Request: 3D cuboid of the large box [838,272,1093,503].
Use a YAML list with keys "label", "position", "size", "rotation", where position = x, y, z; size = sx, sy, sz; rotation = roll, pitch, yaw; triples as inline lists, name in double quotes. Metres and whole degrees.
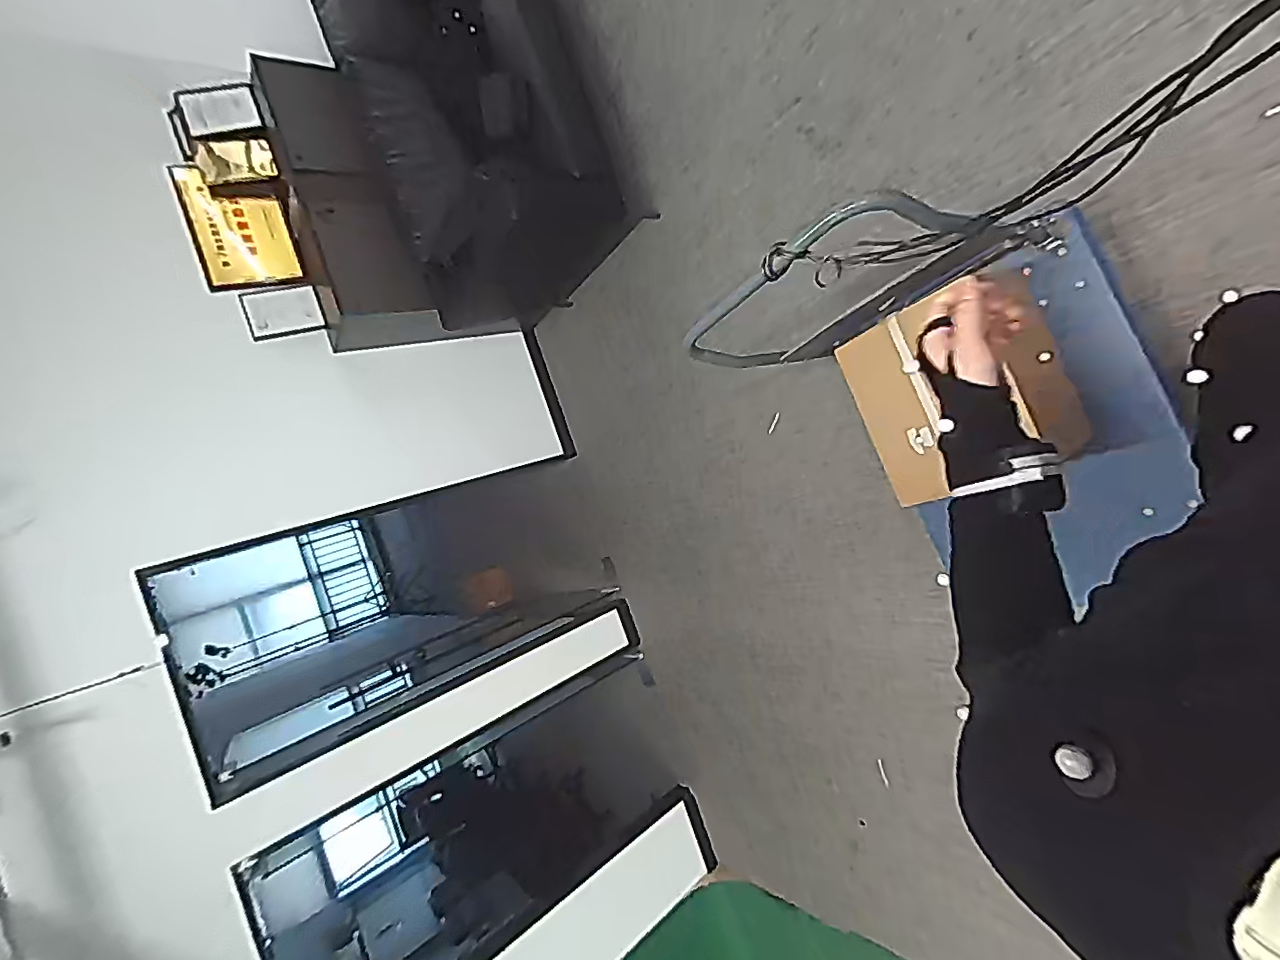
- label: "large box"
  position: [0.732, -0.209, 1.229]
  size: [0.320, 0.320, 0.408]
  rotation: [-27, 83, 53]
